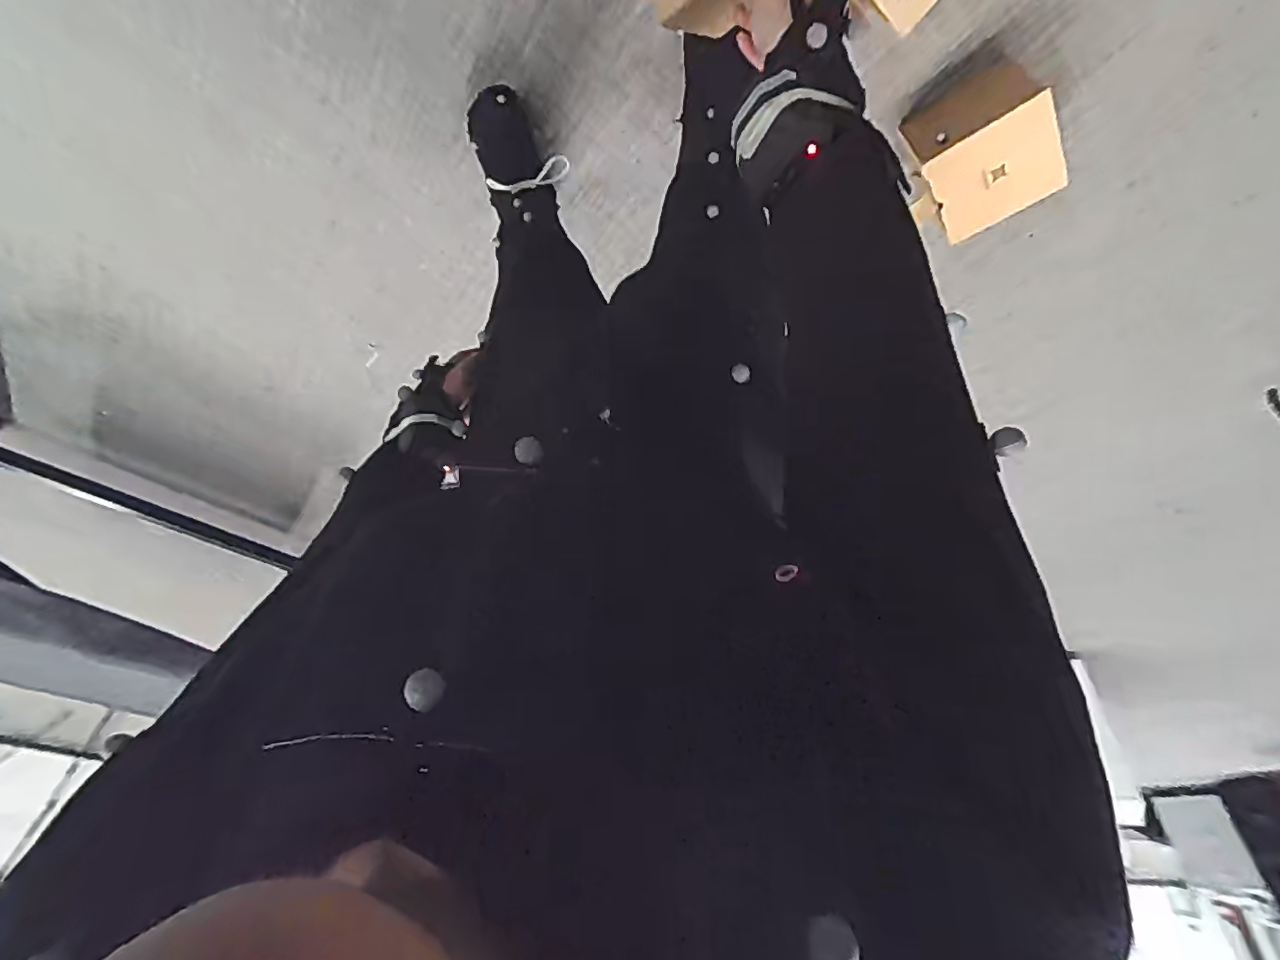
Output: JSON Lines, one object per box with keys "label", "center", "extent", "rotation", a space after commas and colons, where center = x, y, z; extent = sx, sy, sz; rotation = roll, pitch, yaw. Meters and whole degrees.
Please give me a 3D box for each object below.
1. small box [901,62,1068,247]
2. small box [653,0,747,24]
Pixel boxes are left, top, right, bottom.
{"label": "small box", "center": [0.561, -0.537, 0.894], "extent": [0.179, 0.176, 0.168], "rotation": [-23, 133, 32]}
{"label": "small box", "center": [0.065, -0.488, 0.401], "extent": [0.168, 0.176, 0.179], "rotation": [-20, 113, 36]}
